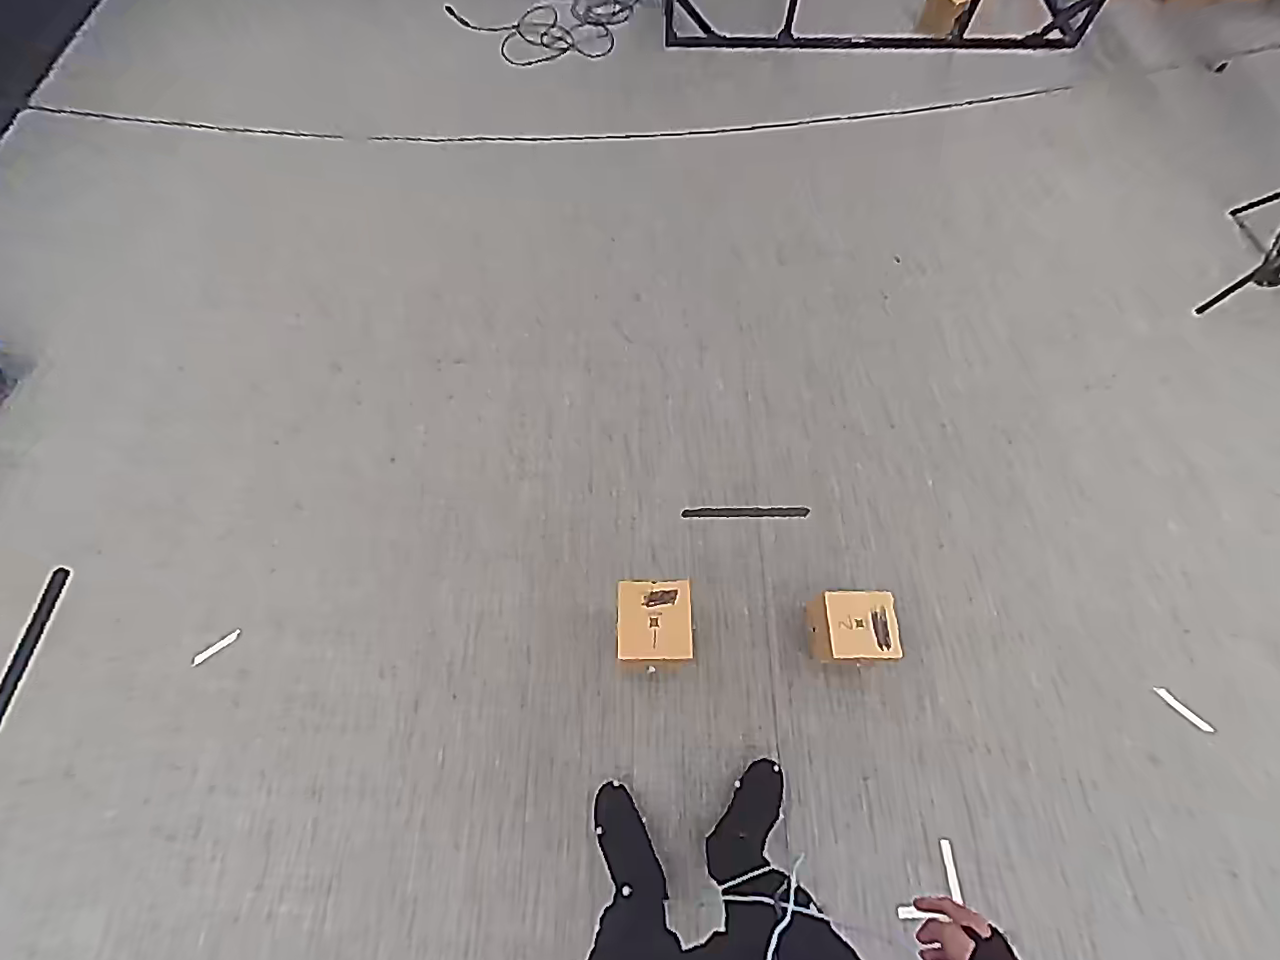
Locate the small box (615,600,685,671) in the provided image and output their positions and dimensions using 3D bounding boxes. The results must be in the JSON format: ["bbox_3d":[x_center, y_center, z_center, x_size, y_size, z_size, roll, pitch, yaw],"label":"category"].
[{"bbox_3d":[0.025,0.411,1.430,0.179,0.176,0.168,-1,66,1],"label":"small box"}]

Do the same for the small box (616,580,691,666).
[{"bbox_3d":[0.030,0.342,1.281,0.168,0.176,0.179,0,67,1],"label":"small box"}]
